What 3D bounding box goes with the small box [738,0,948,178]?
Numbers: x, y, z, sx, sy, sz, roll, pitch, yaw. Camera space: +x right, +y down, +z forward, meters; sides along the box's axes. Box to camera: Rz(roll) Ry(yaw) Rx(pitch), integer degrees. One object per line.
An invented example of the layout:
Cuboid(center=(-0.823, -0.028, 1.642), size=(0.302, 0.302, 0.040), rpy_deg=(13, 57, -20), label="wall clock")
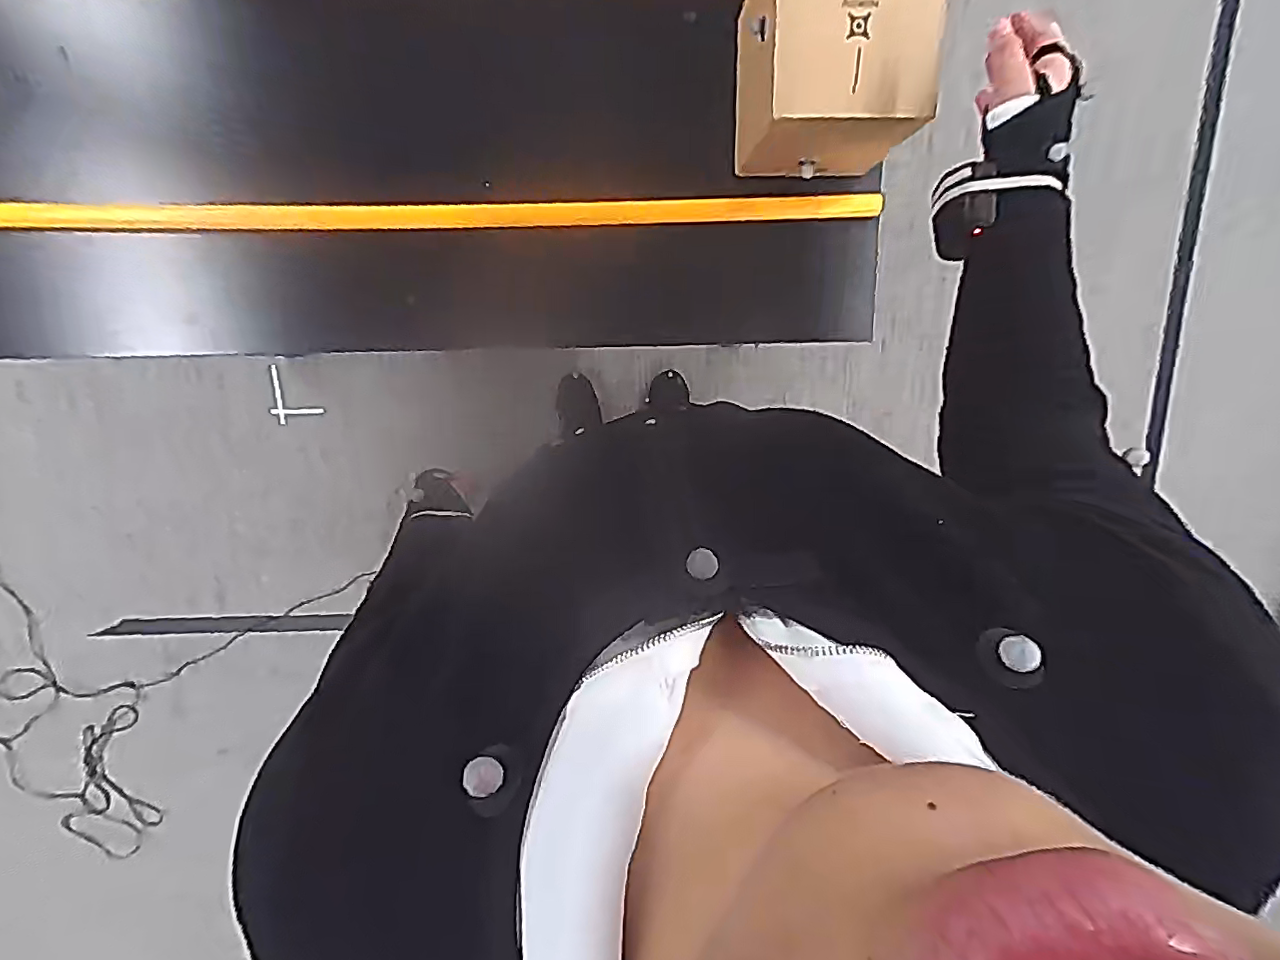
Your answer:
Cuboid(center=(0.208, -0.458, 0.594), size=(0.168, 0.176, 0.179), rpy_deg=(-1, 102, -2), label="small box")
